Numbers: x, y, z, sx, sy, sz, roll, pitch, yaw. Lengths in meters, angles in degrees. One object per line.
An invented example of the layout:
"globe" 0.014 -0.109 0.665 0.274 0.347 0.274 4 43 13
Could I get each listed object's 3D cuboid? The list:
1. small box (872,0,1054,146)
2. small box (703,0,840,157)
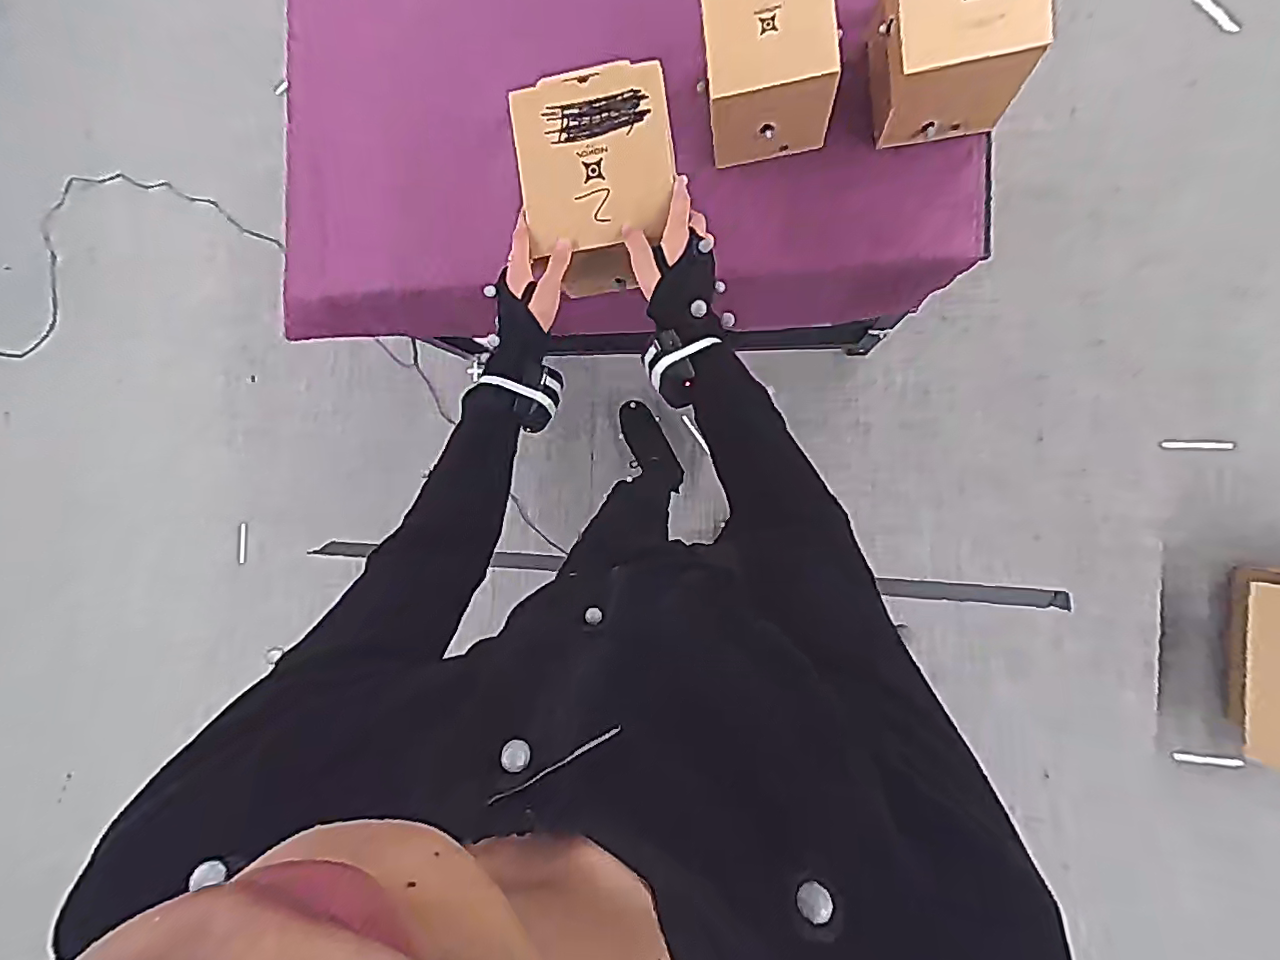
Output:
"small box" 0.418 -0.595 0.728 0.168 0.176 0.179 -3 89 12
"small box" 0.183 -0.595 0.773 0.168 0.176 0.179 -5 89 11
